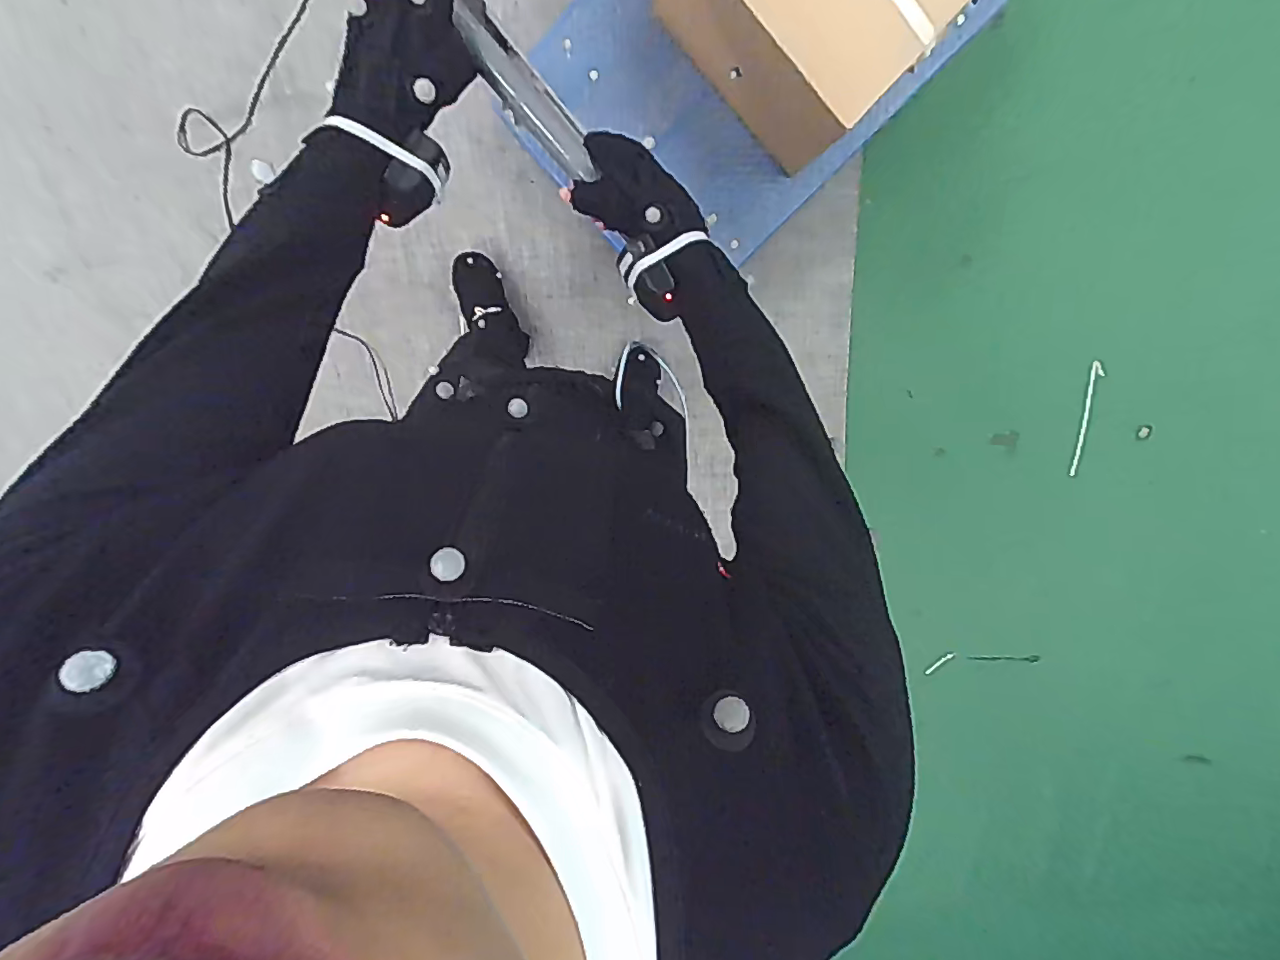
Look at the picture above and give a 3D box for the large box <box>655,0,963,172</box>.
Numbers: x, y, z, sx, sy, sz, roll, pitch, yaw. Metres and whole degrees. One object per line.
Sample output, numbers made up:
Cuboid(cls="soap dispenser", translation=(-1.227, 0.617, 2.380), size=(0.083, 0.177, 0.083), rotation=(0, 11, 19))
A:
Cuboid(cls="large box", translation=(0.273, -0.818, 0.905), size=(0.408, 0.320, 0.320), rotation=(42, 101, -13))
